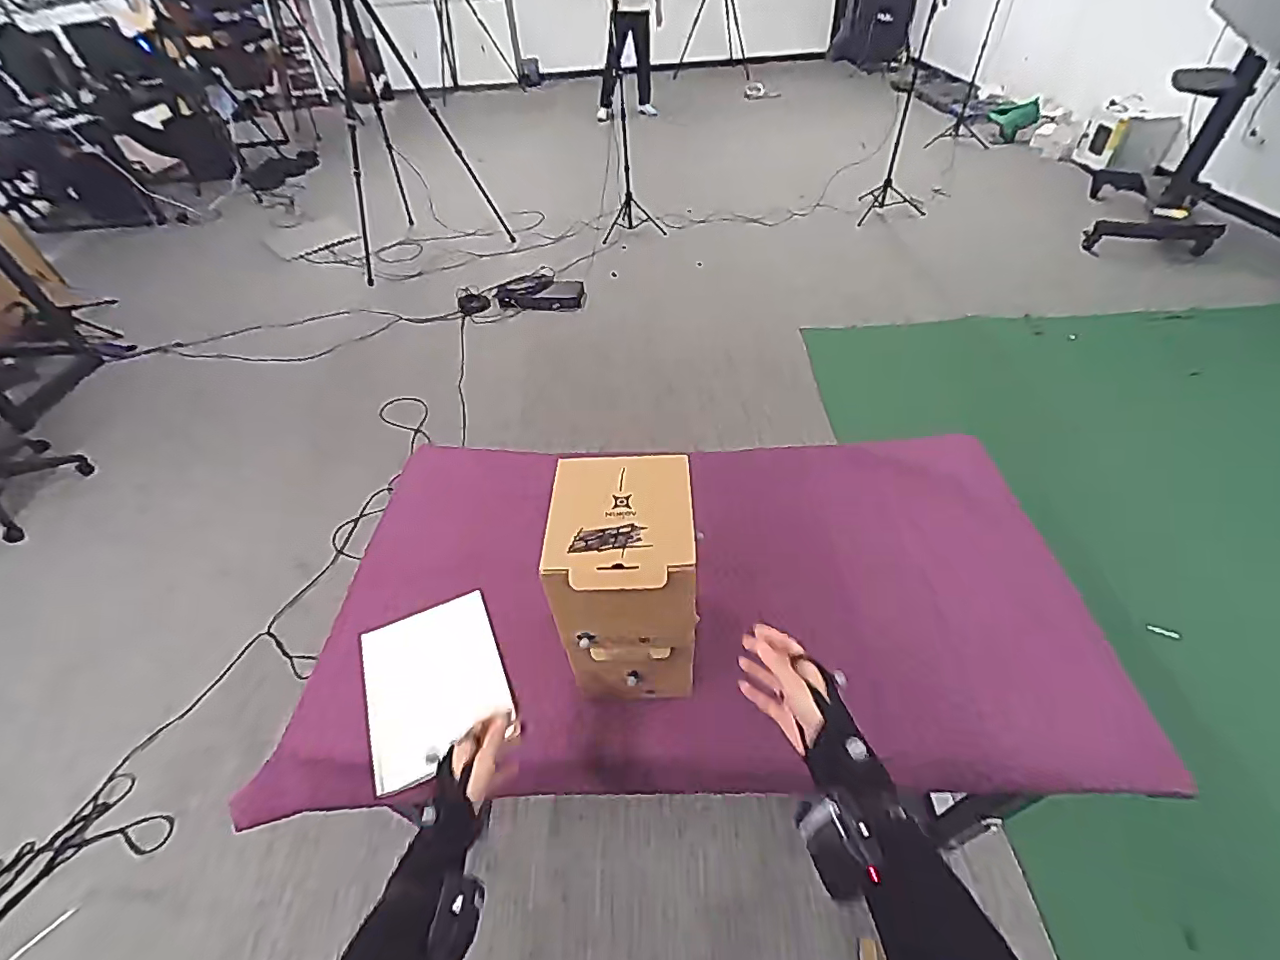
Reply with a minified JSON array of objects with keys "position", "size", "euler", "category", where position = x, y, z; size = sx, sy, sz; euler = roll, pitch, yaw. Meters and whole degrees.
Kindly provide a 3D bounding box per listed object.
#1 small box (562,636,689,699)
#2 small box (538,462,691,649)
[{"position":[-0.012,0.210,0.800],"size":[0.168,0.176,0.179],"euler":[-1,45,2],"category":"small box"},{"position":[-0.020,0.097,0.679],"size":[0.168,0.176,0.179],"euler":[-1,44,3],"category":"small box"}]
